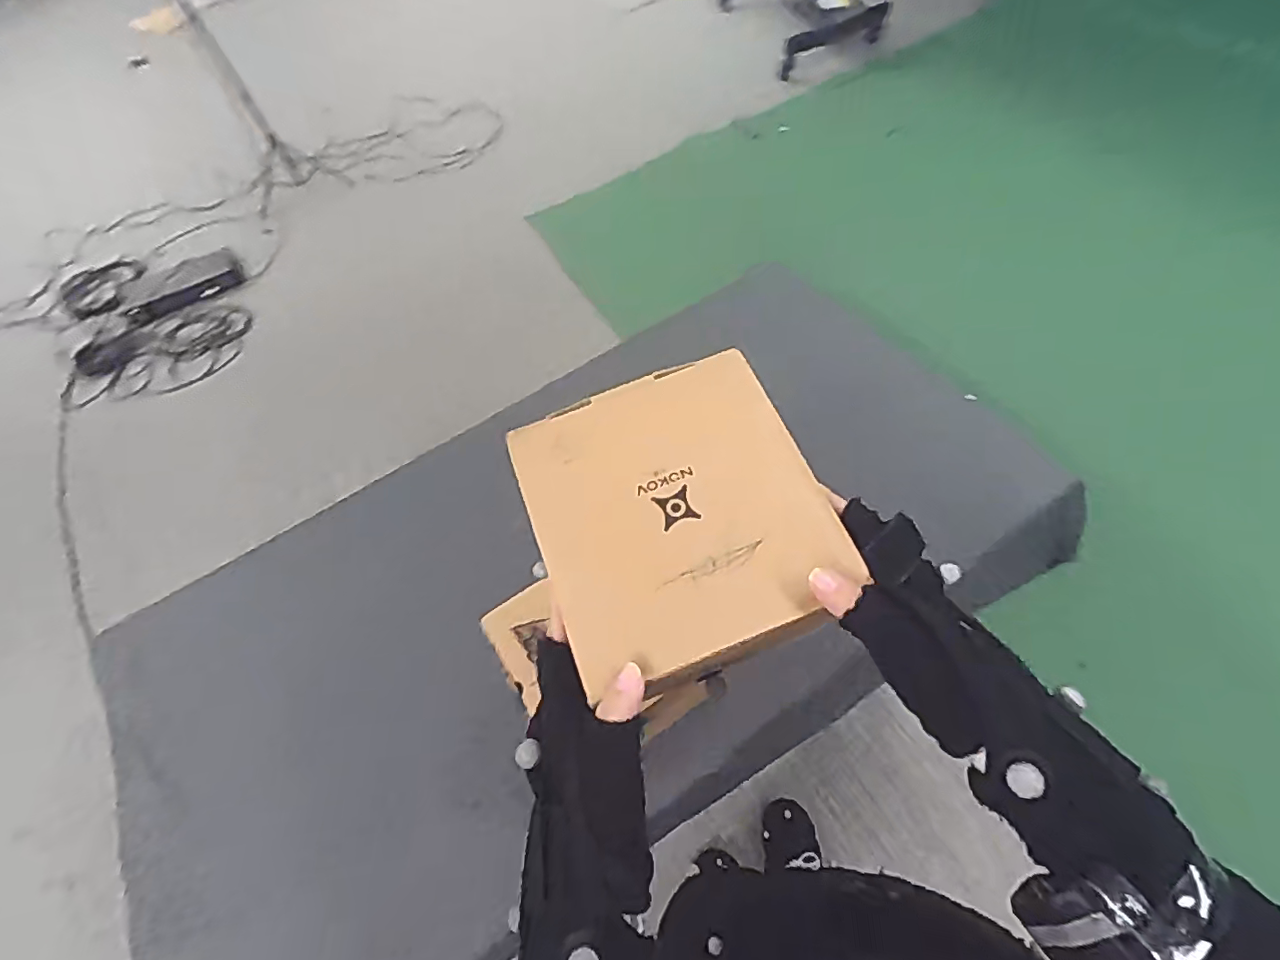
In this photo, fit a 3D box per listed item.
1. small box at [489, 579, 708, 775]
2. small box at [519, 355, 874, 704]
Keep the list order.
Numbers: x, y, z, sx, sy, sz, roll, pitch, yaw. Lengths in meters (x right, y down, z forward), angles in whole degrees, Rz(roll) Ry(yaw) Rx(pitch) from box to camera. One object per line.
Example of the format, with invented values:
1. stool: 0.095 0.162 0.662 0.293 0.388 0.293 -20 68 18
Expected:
1. small box: -0.035 0.204 0.605 0.179 0.176 0.168 -31 61 -13
2. small box: 0.030 0.047 0.395 0.168 0.176 0.179 -20 66 -4
